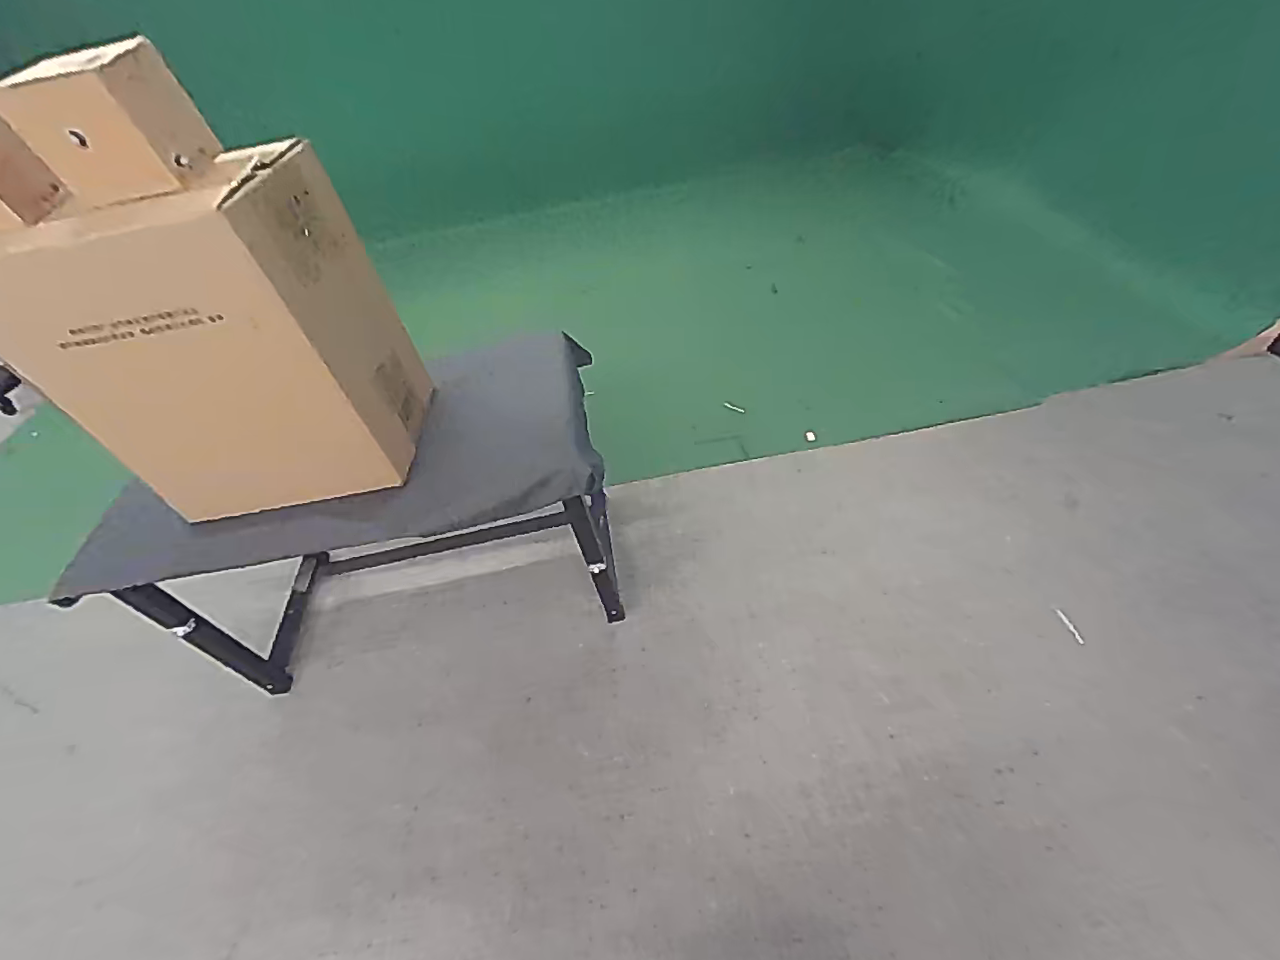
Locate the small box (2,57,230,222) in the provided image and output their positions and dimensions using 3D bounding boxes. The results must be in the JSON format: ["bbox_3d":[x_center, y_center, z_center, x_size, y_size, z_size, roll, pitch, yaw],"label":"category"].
[{"bbox_3d":[-0.835,-0.555,0.889,0.179,0.176,0.168,-10,50,4],"label":"small box"}]

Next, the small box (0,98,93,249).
[{"bbox_3d":[-1.085,-0.492,0.889,0.179,0.176,0.168,-10,50,3],"label":"small box"}]
